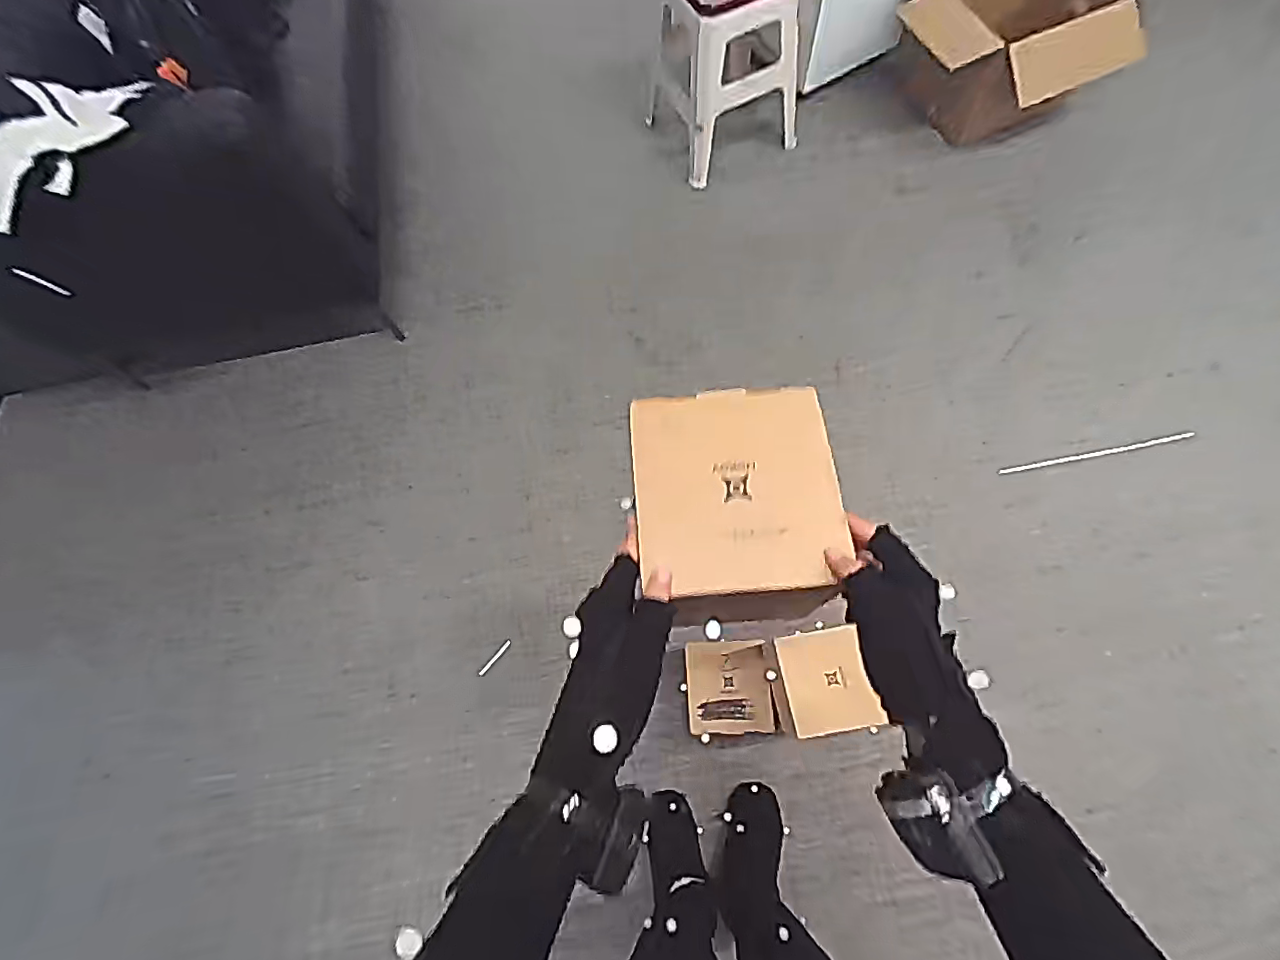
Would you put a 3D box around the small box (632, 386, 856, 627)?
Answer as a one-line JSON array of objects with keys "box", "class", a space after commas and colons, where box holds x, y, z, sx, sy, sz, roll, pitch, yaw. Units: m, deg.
[{"box": [0.077, 0.032, 0.508, 0.168, 0.176, 0.179, -3, 66, 0], "class": "small box"}]

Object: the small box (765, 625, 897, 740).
[{"box": [0.338, 0.375, 1.000, 0.179, 0.176, 0.168, -11, 68, 0], "class": "small box"}]
